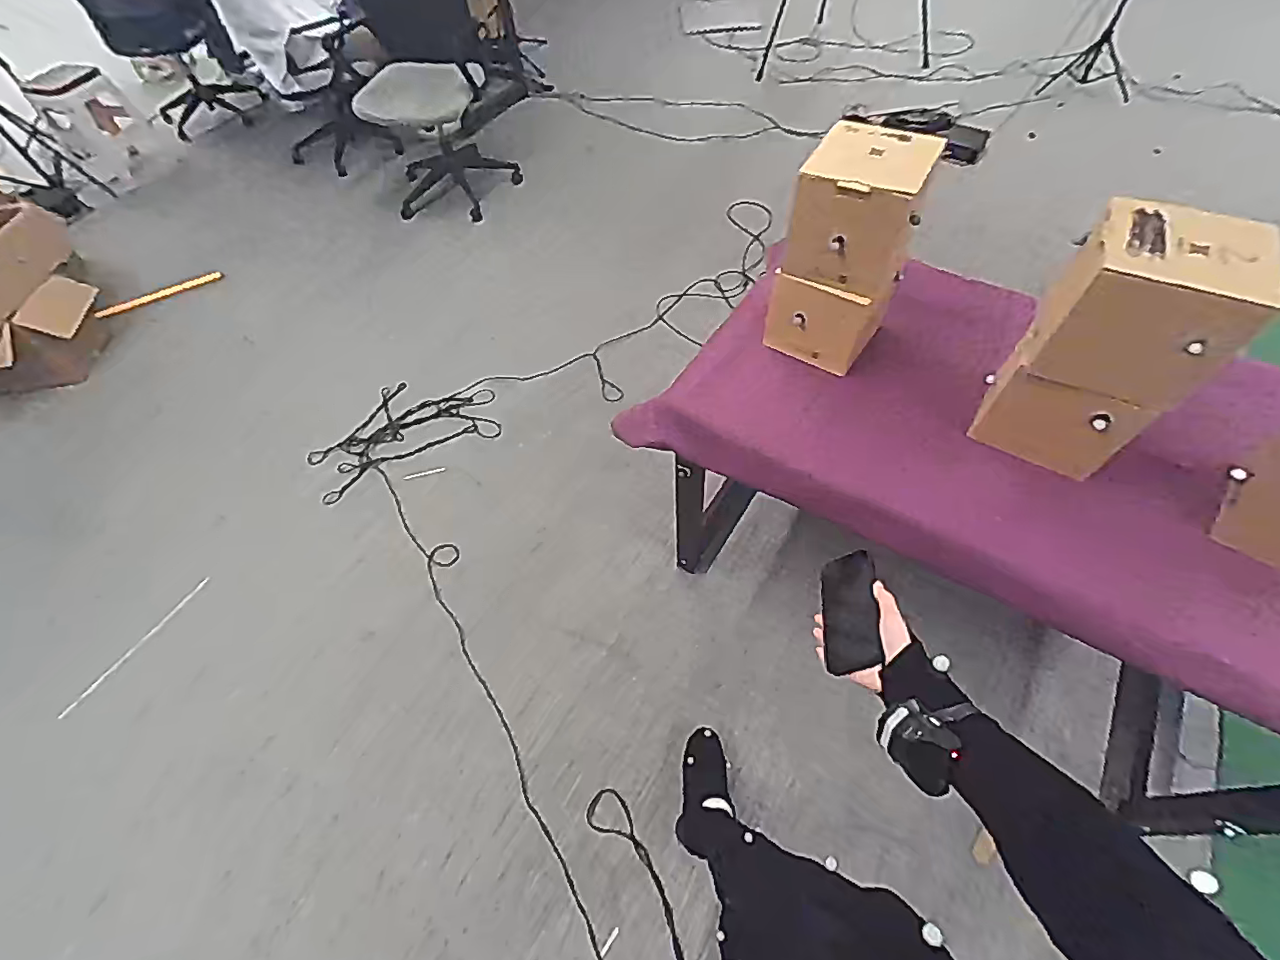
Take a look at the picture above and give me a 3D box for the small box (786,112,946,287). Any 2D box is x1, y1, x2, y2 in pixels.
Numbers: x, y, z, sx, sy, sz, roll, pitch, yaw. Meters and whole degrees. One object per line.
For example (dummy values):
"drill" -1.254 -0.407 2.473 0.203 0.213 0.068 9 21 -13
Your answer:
"small box" 0.340 -0.432 0.842 0.168 0.176 0.179 25 63 19

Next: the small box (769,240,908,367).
"small box" 0.347 -0.335 0.975 0.168 0.176 0.179 29 63 22

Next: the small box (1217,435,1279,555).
"small box" 0.923 0.015 0.690 0.179 0.176 0.168 35 65 25

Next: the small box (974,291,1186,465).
"small box" 0.653 -0.147 0.821 0.179 0.176 0.168 29 63 22
